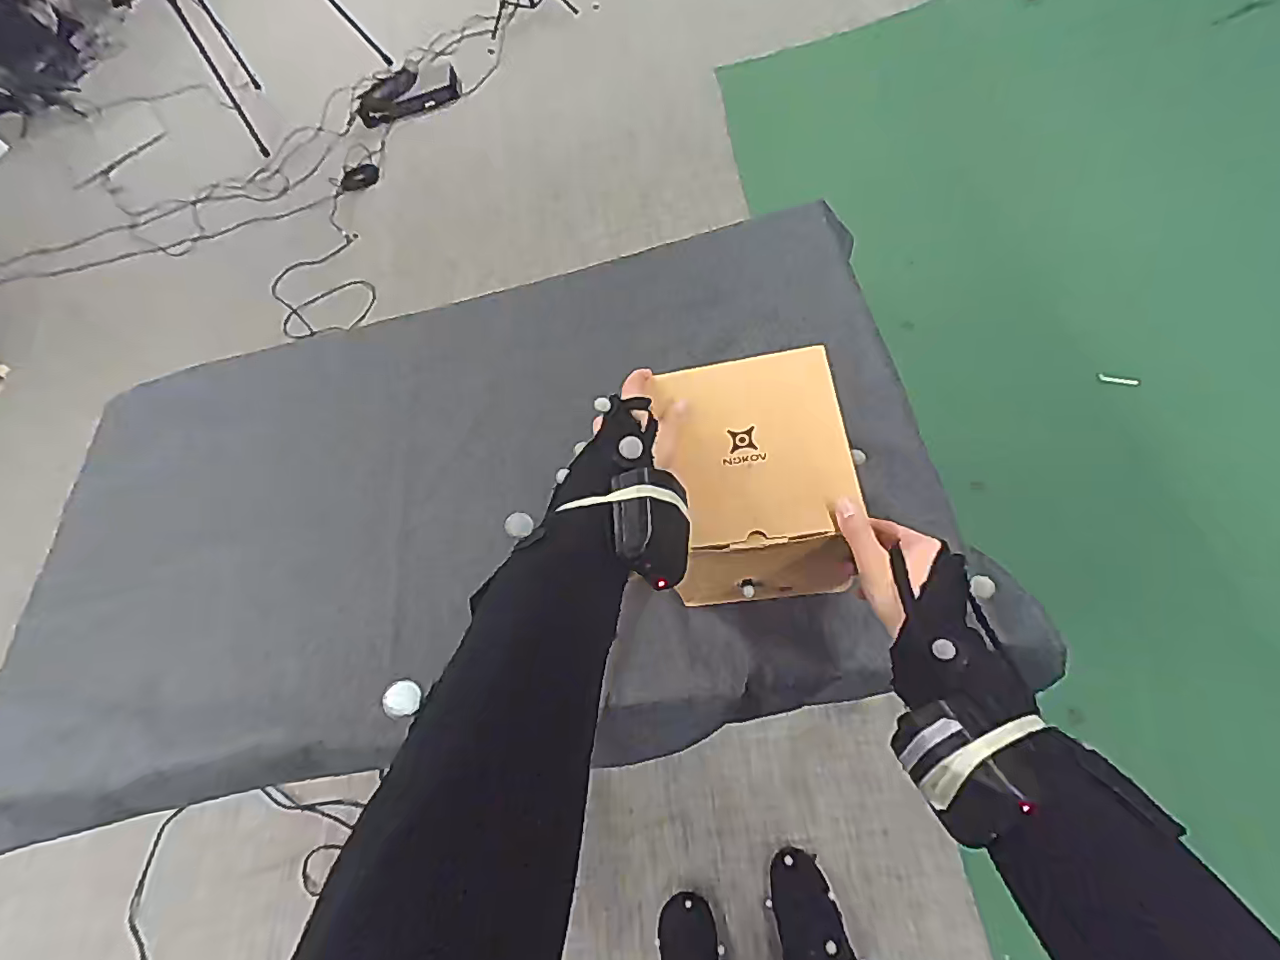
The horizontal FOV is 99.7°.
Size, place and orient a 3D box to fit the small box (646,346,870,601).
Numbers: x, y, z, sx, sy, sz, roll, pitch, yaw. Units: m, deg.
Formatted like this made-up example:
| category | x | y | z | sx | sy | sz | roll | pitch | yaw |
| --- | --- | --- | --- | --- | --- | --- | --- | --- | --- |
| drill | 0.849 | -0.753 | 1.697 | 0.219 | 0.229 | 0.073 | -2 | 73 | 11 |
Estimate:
| category | x | y | z | sx | sy | sz | roll | pitch | yaw |
| --- | --- | --- | --- | --- | --- | --- | --- | --- | --- |
| small box | 0.104 | 0.004 | 0.518 | 0.168 | 0.176 | 0.179 | -8 | 63 | 10 |
